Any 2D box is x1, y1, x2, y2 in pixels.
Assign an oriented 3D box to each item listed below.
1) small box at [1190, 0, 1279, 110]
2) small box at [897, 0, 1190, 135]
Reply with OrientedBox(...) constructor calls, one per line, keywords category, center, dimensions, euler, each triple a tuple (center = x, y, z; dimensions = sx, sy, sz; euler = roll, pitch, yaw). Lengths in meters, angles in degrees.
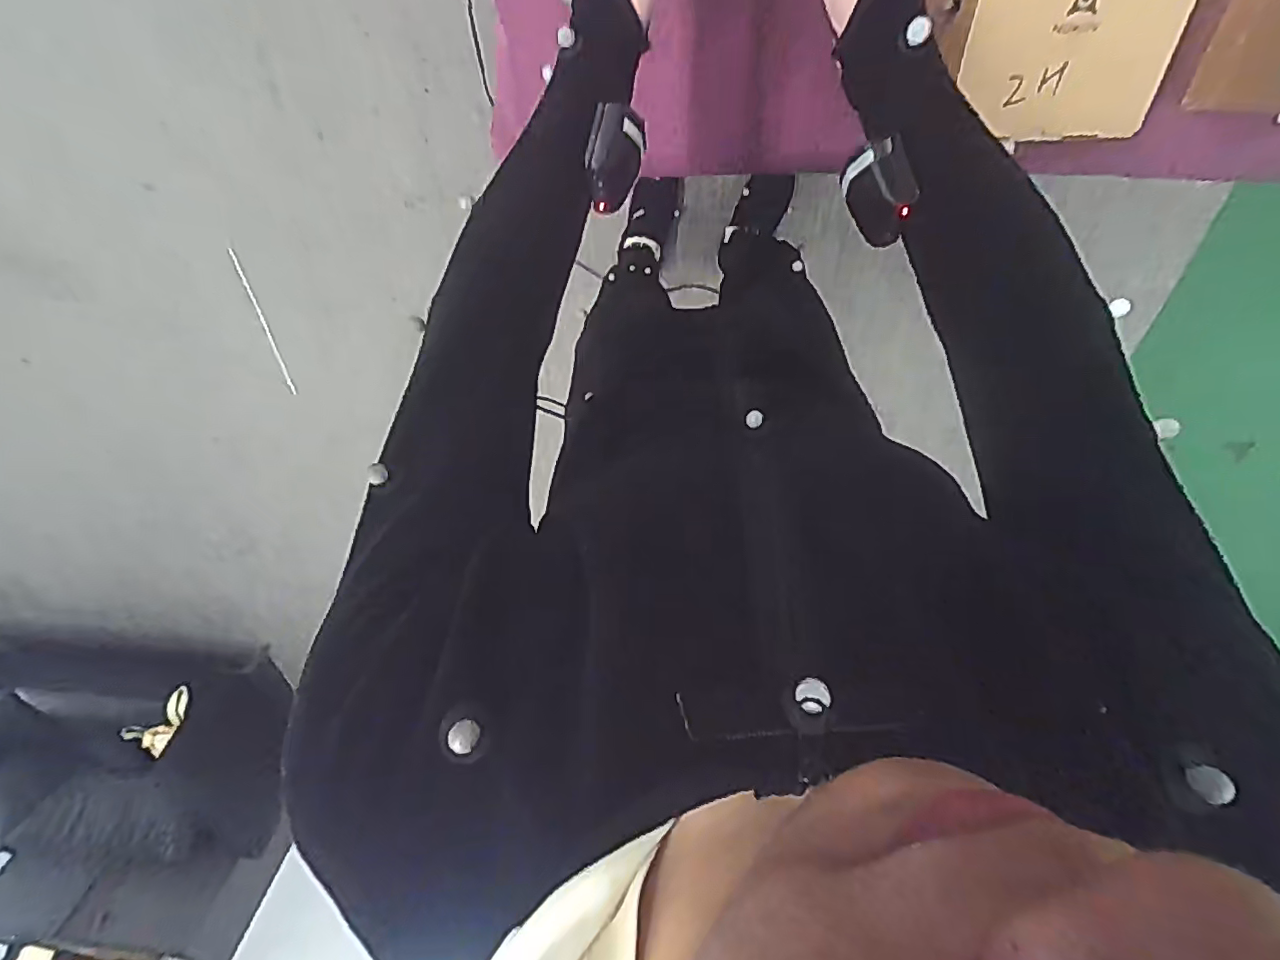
OrientedBox(category="small box", center=(0.653, -0.425, 0.465), dimensions=(0.168, 0.176, 0.179), euler=(3, 127, 5))
OrientedBox(category="small box", center=(0.359, -0.426, 0.498), dimensions=(0.168, 0.176, 0.179), euler=(3, 127, 5))
